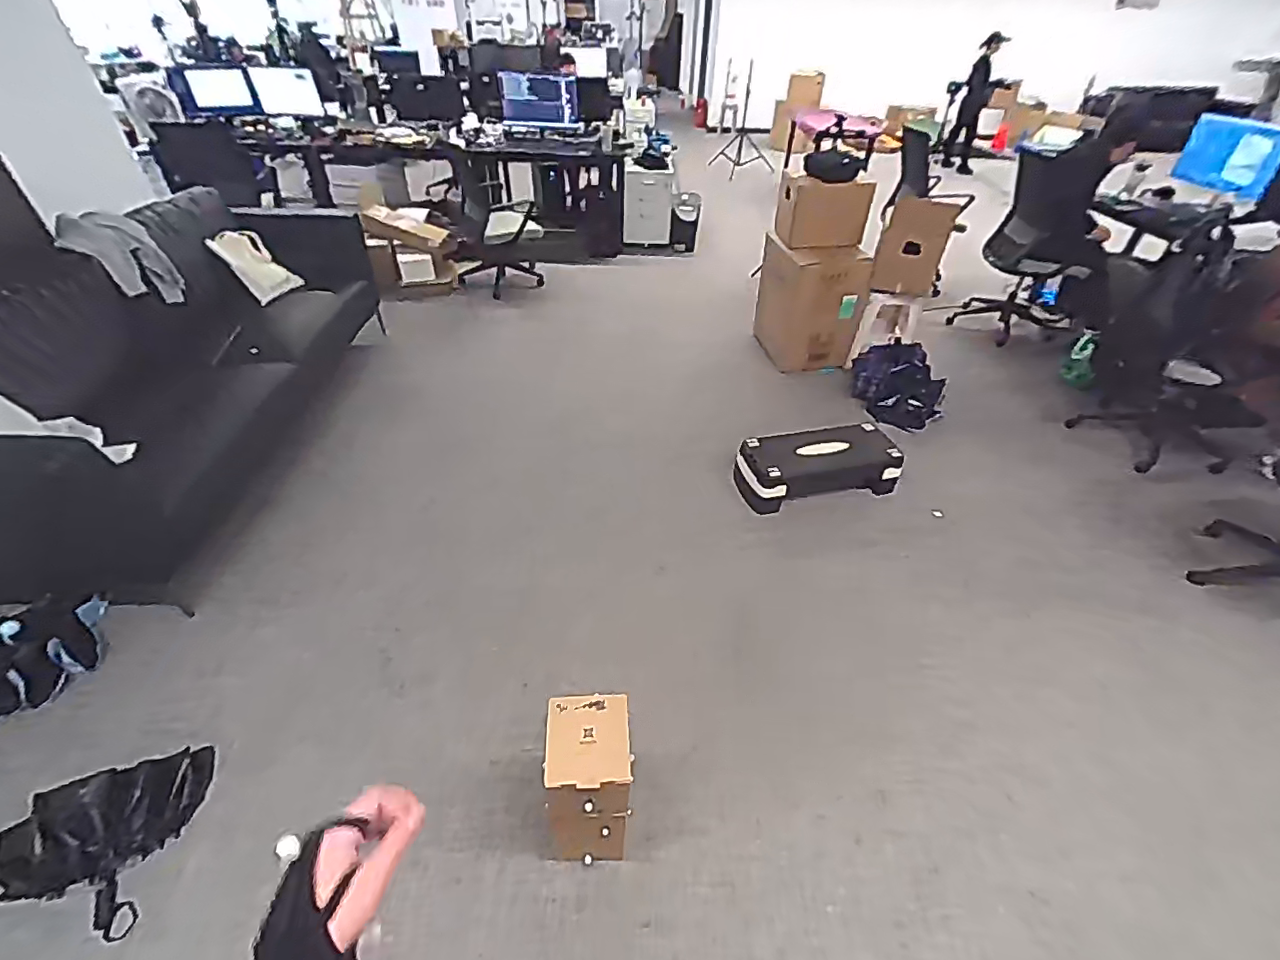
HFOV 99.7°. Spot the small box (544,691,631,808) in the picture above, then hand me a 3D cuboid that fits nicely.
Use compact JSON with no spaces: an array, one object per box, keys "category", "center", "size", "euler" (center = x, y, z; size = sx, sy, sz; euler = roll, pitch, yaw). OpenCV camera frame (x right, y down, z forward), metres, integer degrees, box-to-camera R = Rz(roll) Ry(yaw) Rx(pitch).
[{"category":"small box","center":[-0.104,0.562,1.119],"size":[0.168,0.176,0.179],"euler":[-1,43,-4]}]

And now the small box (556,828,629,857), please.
[{"category":"small box","center":[-0.112,0.805,1.335],"size":[0.168,0.176,0.179],"euler":[0,42,-2]}]

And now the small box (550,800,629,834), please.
[{"category":"small box","center":[-0.109,0.684,1.228],"size":[0.168,0.176,0.179],"euler":[0,40,-3]}]
